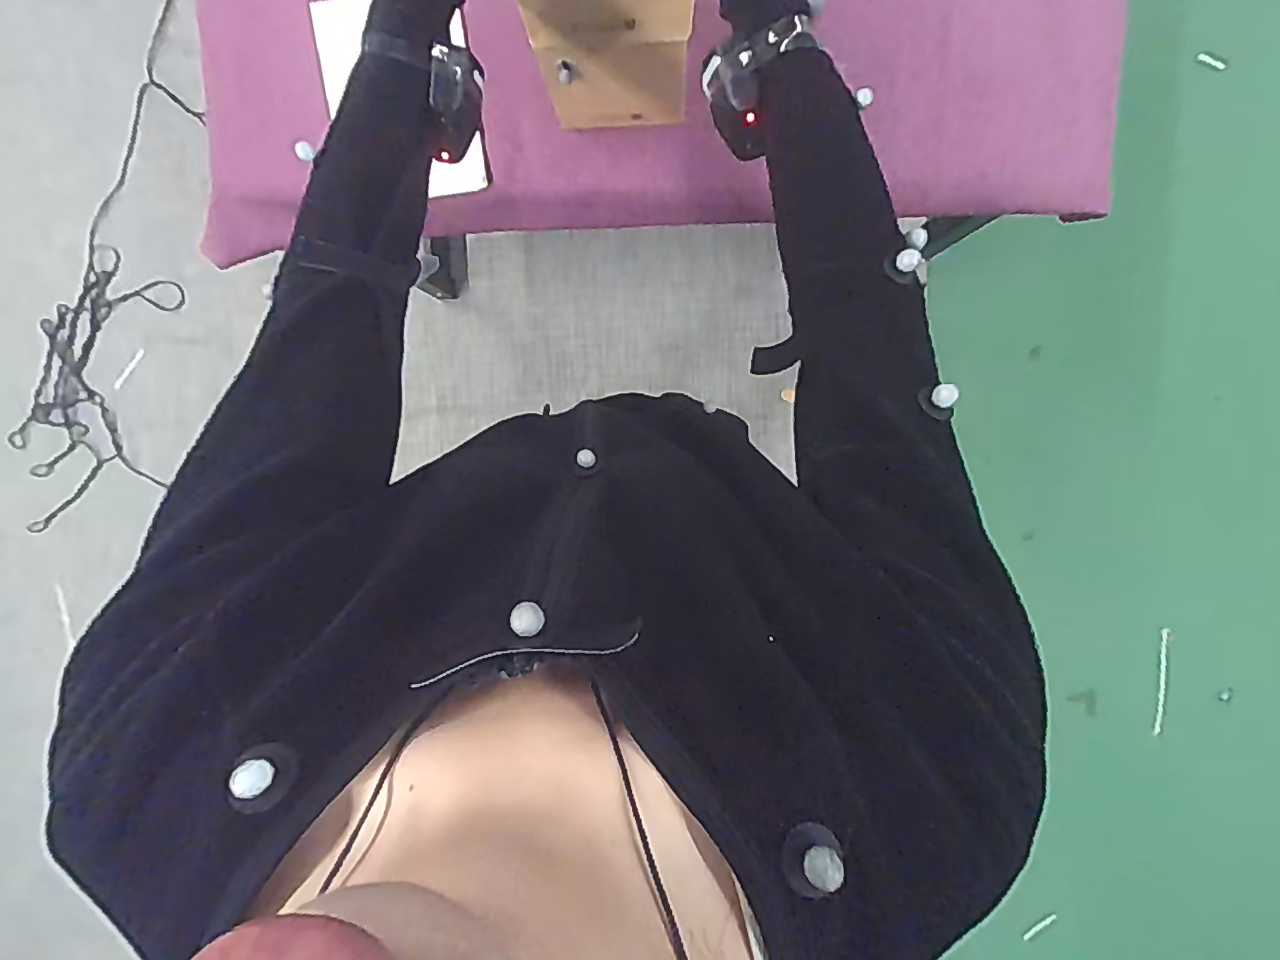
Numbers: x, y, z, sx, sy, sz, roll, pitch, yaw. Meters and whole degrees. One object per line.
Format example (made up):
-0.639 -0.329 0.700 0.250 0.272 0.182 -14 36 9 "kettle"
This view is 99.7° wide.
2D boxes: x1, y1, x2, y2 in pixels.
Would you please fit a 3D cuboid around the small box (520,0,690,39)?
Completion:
-0.036 -0.530 0.475 0.168 0.176 0.179 -1 95 2 "small box"
